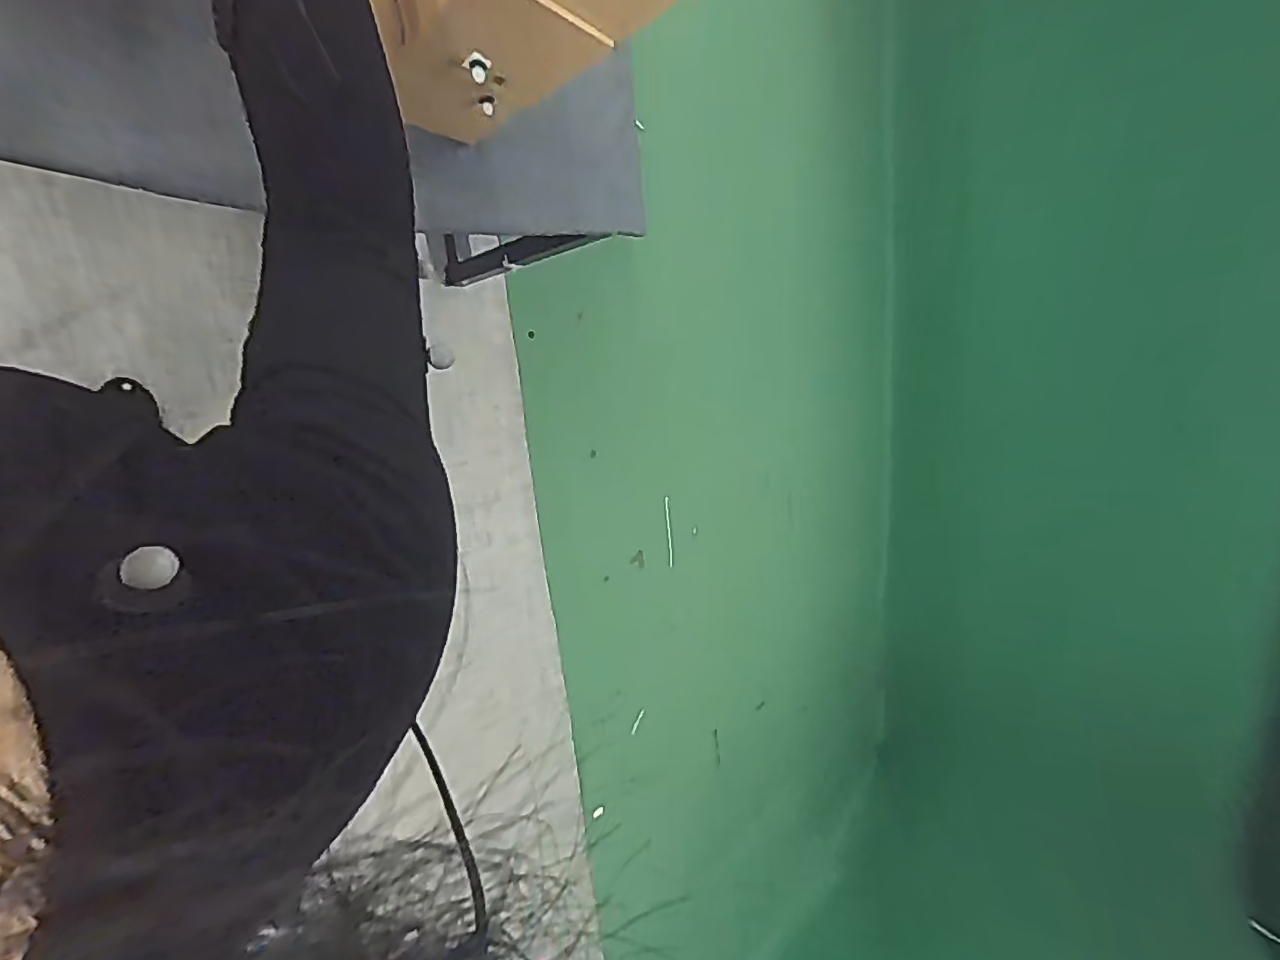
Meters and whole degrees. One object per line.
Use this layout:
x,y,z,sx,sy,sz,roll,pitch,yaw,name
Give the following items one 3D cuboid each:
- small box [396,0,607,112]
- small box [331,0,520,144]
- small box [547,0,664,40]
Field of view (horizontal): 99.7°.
-0.153,-0.546,0.581,0.168,0.176,0.179,-8,101,-44,small box
-0.269,-0.563,0.693,0.179,0.176,0.168,-11,101,-45,small box
-0.034,-0.538,0.468,0.179,0.176,0.168,-6,98,-44,small box
